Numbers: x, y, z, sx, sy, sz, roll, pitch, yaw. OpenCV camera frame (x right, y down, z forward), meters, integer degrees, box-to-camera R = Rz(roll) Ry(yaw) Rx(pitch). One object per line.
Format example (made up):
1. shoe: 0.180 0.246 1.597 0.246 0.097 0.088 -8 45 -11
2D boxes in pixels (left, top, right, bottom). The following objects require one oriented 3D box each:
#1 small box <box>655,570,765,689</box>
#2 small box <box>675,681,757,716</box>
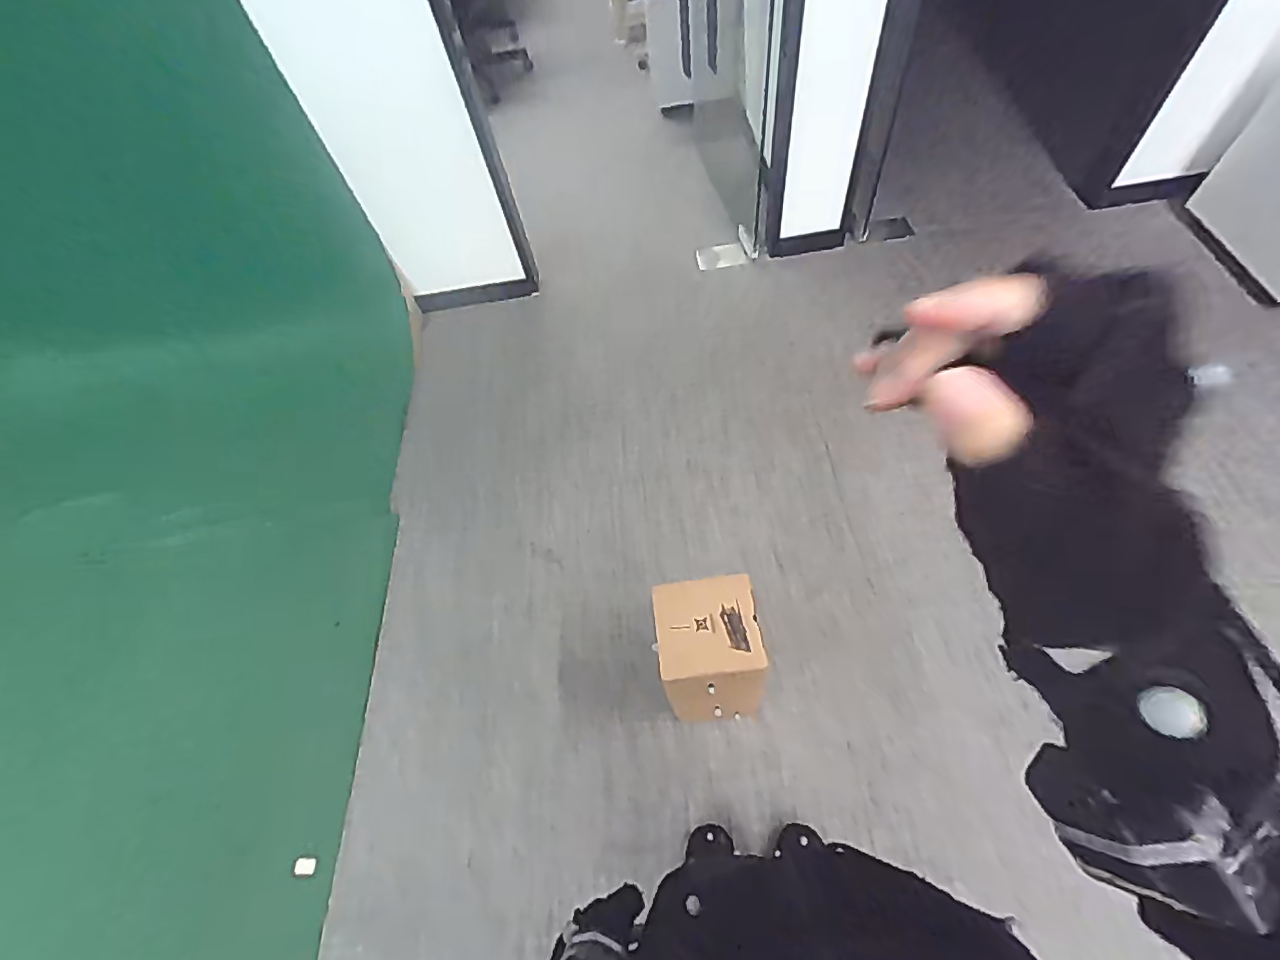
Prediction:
1. small box: 0.123 0.277 0.986 0.179 0.176 0.168 -5 56 5
2. small box: 0.169 0.448 1.266 0.179 0.176 0.168 -9 57 5
